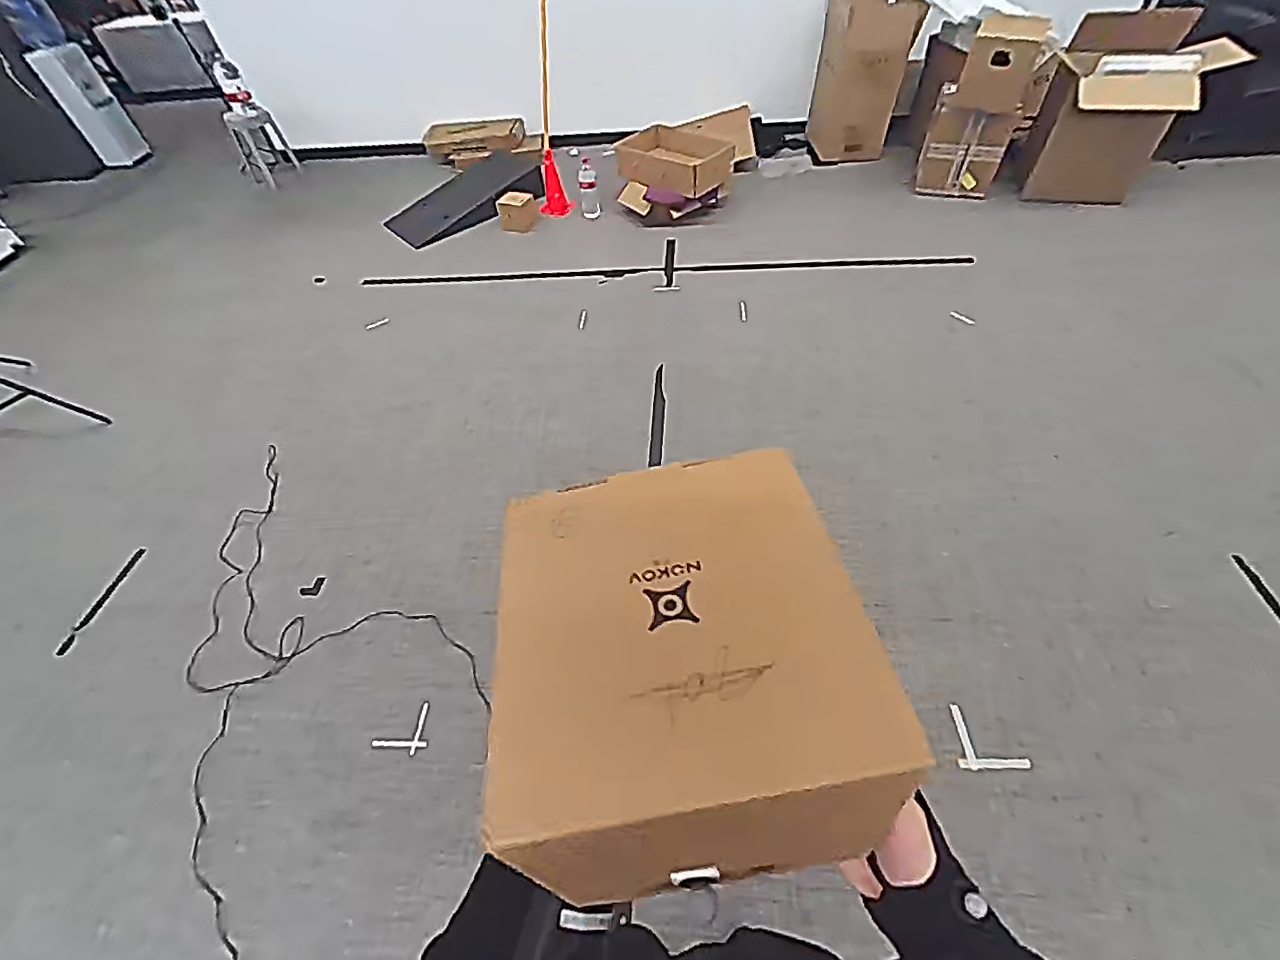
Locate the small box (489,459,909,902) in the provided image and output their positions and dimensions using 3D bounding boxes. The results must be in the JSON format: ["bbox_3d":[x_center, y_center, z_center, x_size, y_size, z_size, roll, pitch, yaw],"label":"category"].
[{"bbox_3d":[0.025,0.118,0.320,0.168,0.176,0.179,-12,45,2],"label":"small box"}]
